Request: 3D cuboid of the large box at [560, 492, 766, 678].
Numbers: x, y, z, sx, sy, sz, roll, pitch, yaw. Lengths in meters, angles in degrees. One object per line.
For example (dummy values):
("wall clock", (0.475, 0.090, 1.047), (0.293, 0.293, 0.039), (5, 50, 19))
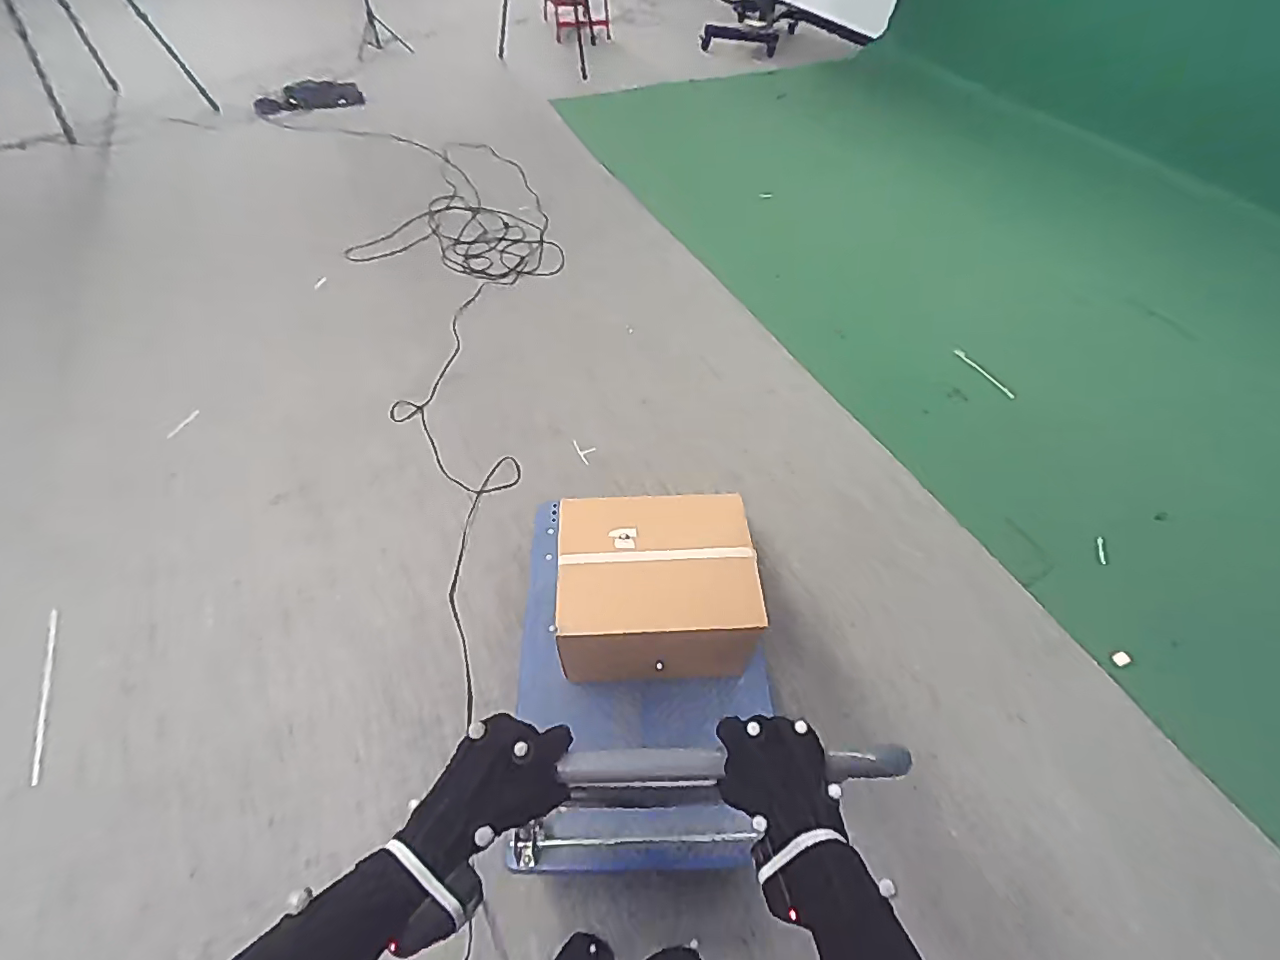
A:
("large box", (0.036, 0.247, 1.235), (0.408, 0.320, 0.320), (-2, 53, -3))
